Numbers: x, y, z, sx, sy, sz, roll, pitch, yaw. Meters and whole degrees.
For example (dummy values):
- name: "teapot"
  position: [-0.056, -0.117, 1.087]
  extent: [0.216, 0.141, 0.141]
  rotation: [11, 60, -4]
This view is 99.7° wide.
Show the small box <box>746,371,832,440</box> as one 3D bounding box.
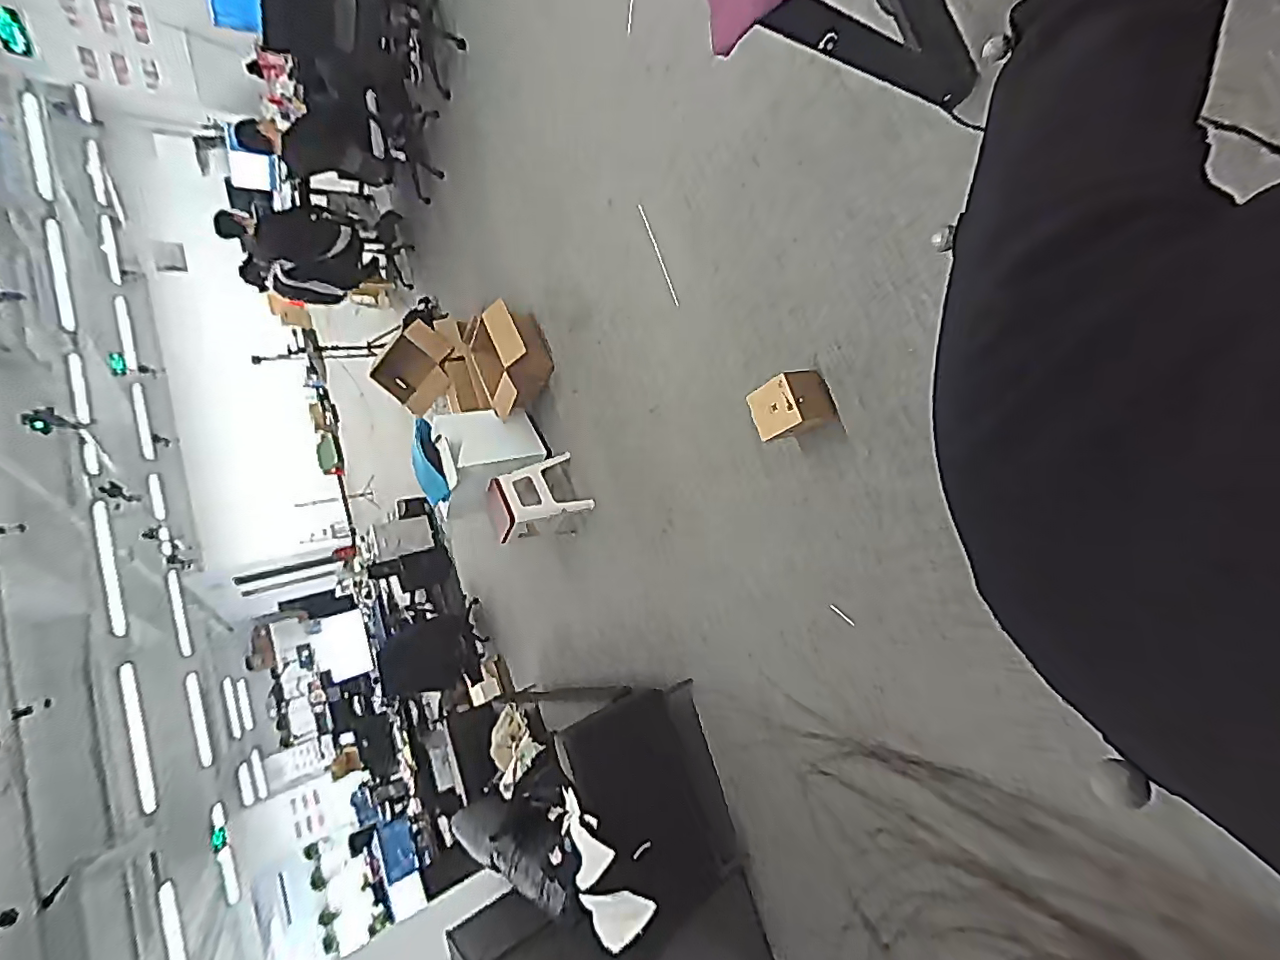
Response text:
- name: "small box"
  position: [0.479, -0.239, 1.738]
  extent: [0.179, 0.176, 0.168]
  rotation: [-31, 74, 54]
